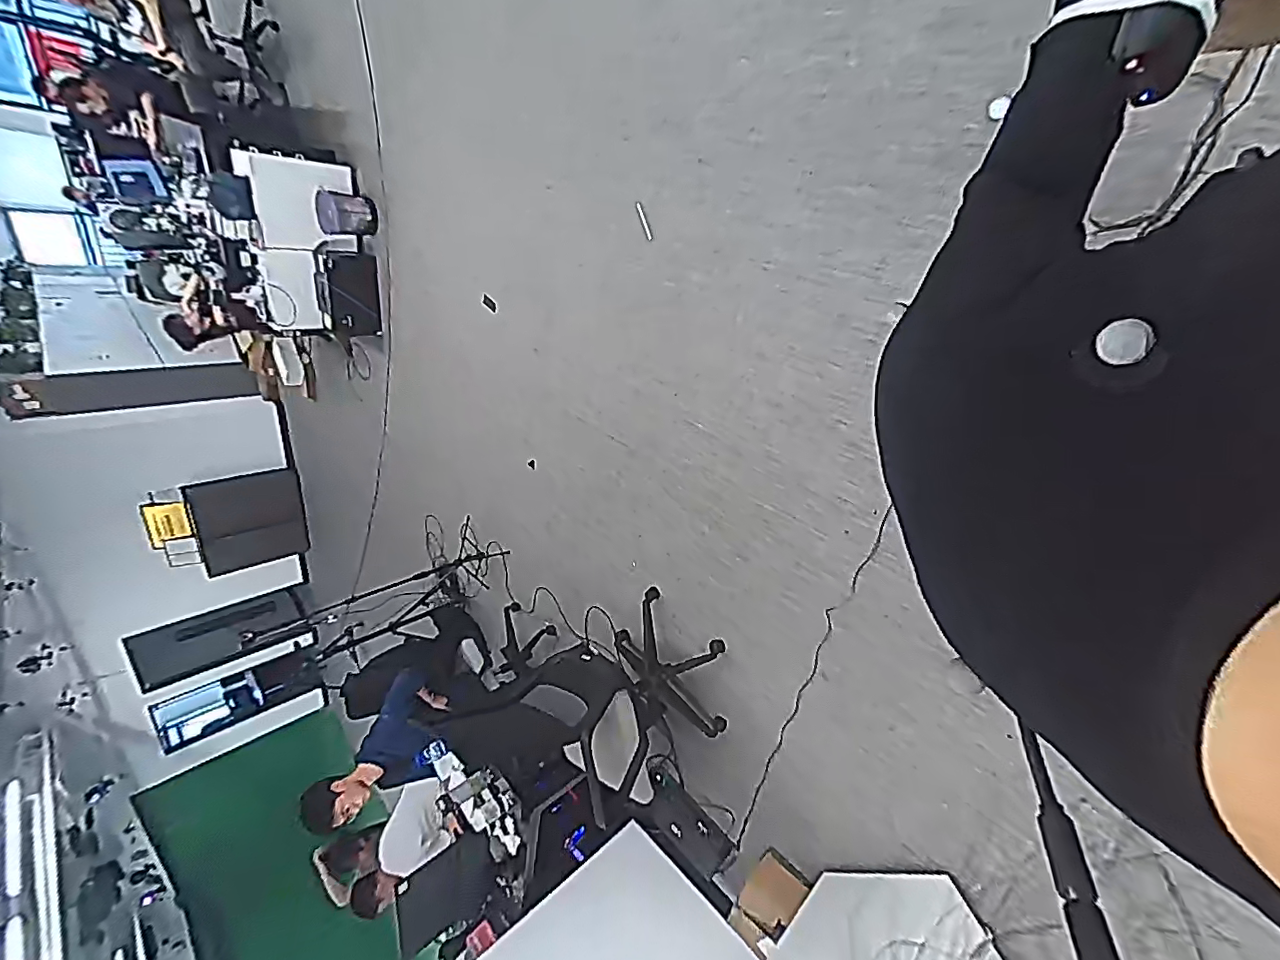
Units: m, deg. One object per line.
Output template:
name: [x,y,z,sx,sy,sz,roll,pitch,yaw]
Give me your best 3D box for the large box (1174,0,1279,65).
large box: [0.616,-0.459,0.289,0.408,0.320,0.320,22,129,37]
